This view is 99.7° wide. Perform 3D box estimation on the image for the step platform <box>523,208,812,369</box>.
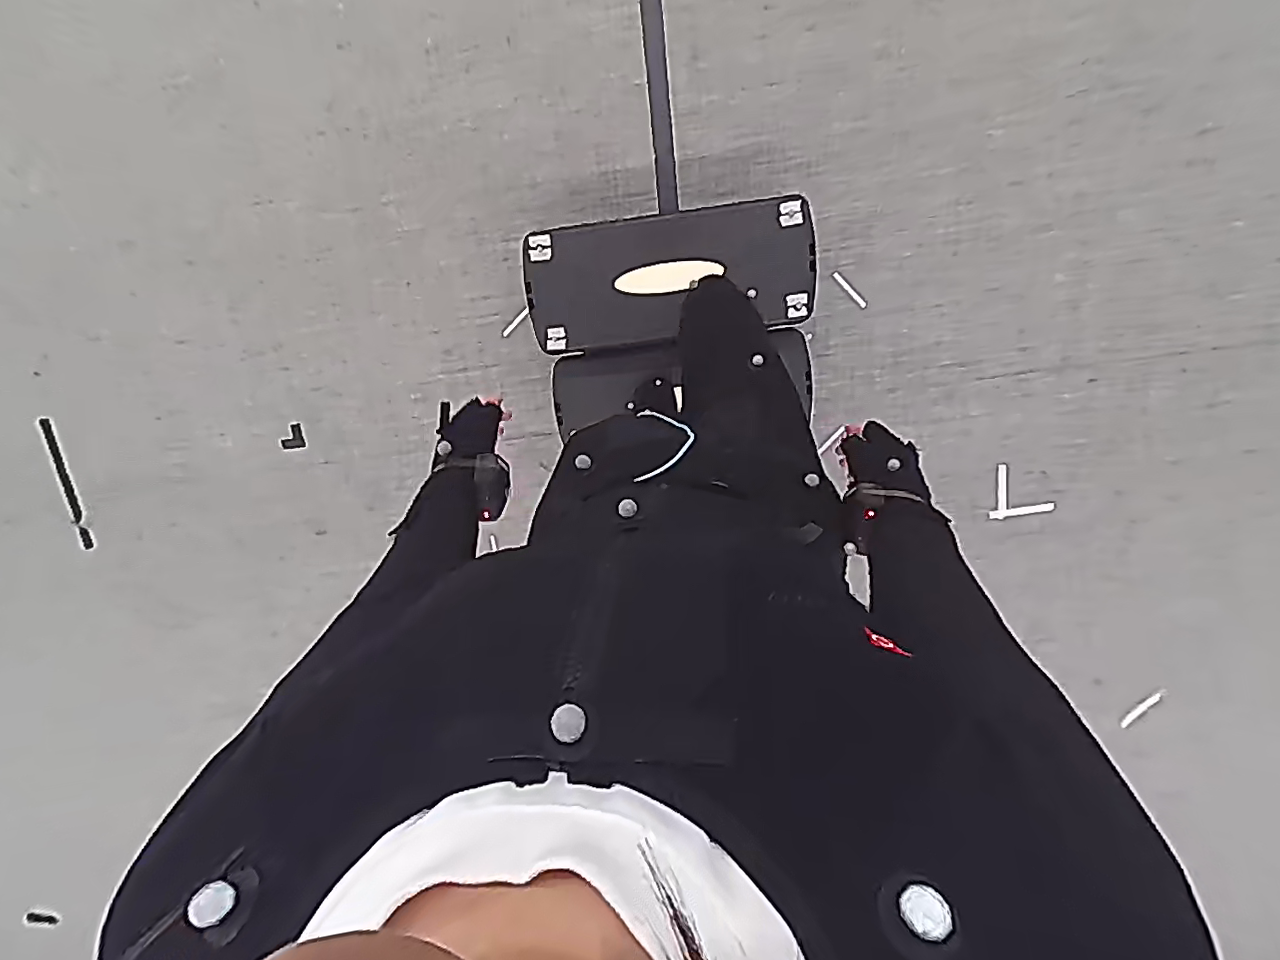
[{"bbox_3d":[0.063,-0.457,1.325,0.684,0.204,0.286,-8,105,3],"label":"step platform"}]
